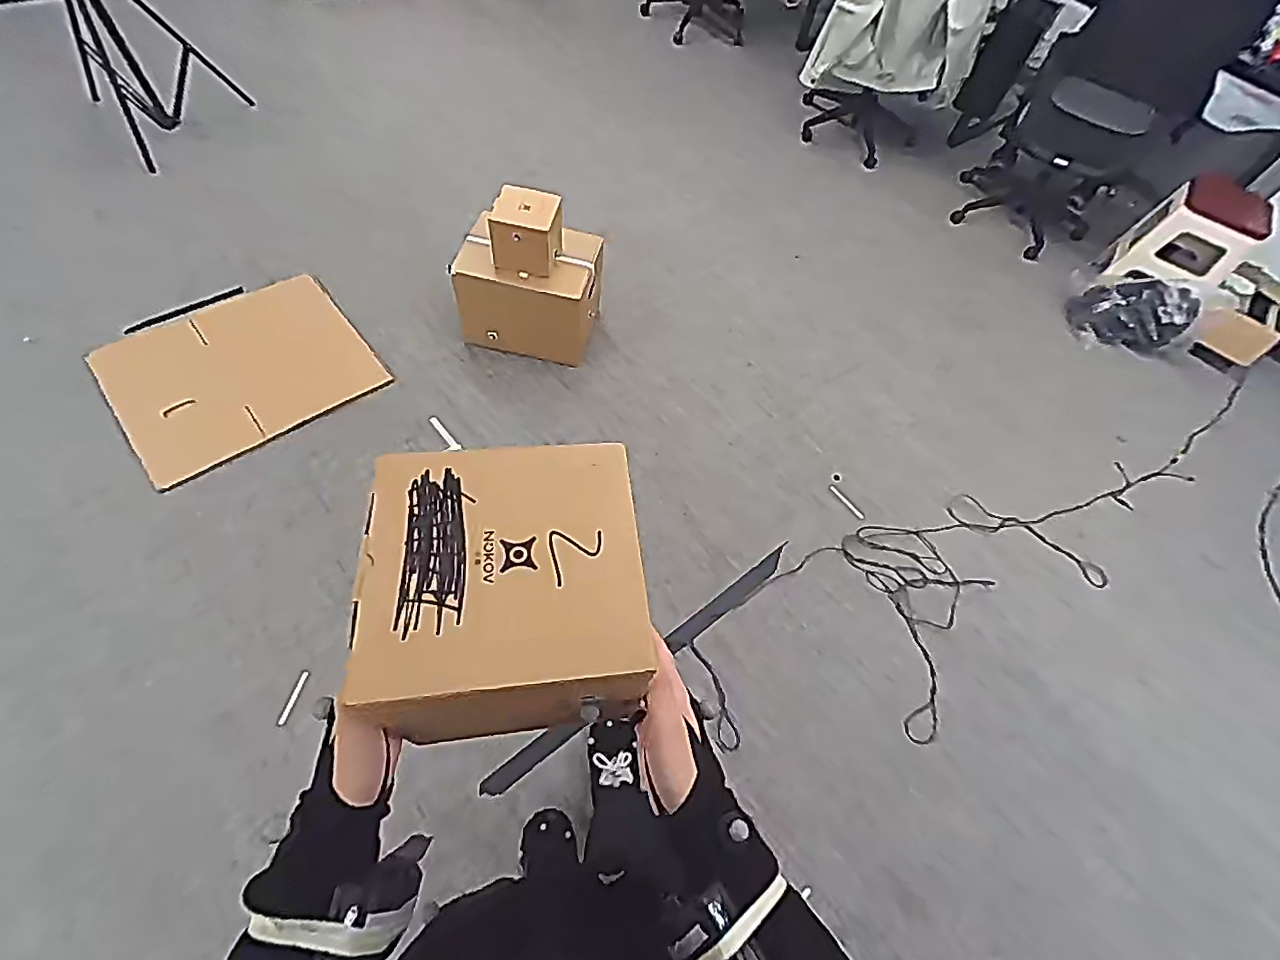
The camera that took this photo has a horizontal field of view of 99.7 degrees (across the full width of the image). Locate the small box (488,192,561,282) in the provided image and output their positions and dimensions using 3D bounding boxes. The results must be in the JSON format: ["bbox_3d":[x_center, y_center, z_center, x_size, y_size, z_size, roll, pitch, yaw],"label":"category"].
[{"bbox_3d":[-0.339,-0.721,1.619,0.179,0.176,0.168,11,61,-2],"label":"small box"}]
